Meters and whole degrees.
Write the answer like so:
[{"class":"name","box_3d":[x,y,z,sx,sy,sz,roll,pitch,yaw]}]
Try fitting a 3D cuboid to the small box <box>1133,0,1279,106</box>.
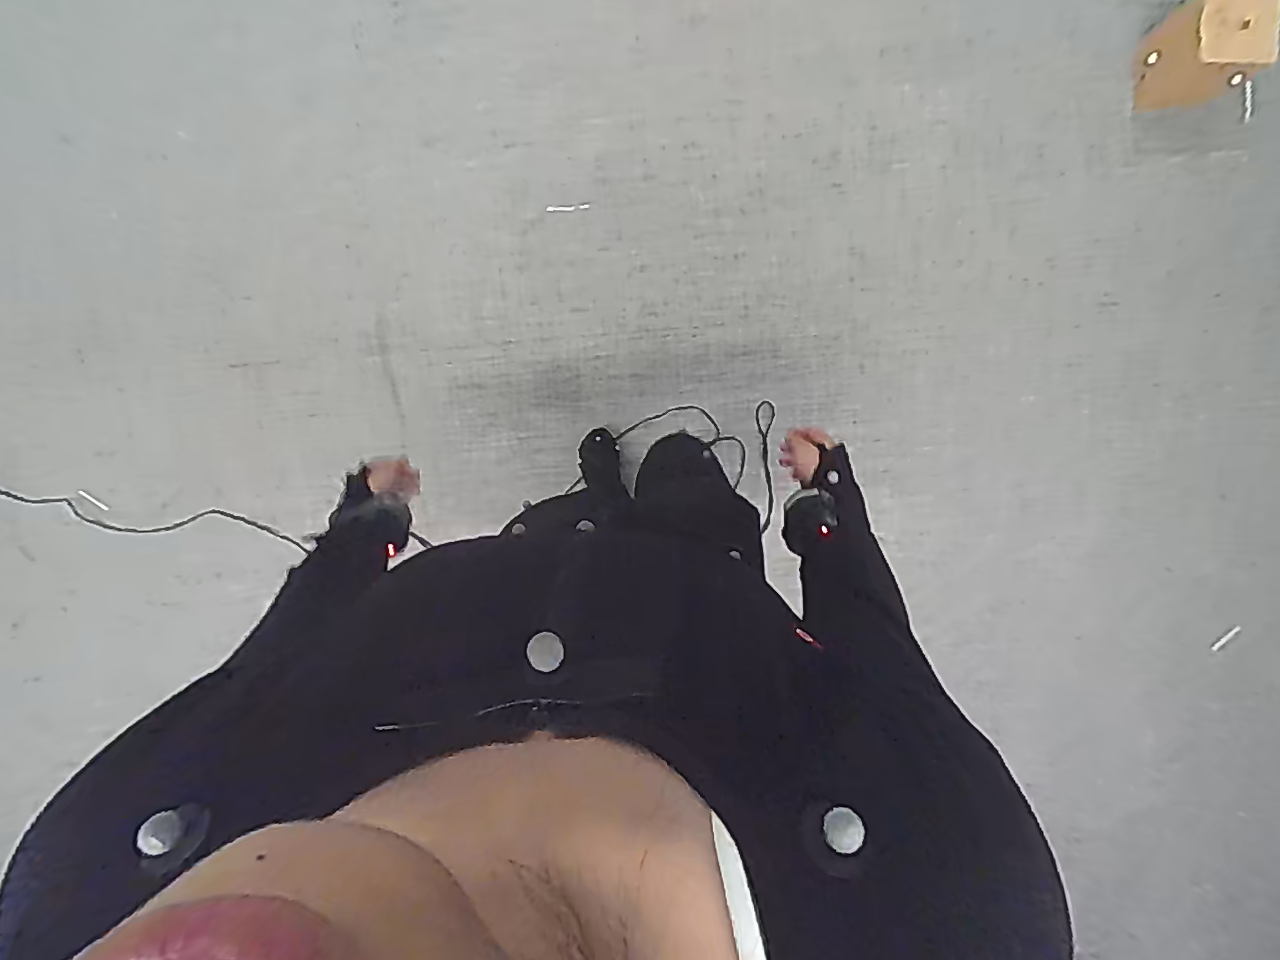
[{"class":"small box","box_3d":[1.347,-1.029,1.292,0.179,0.176,0.168,1,94,1]}]
